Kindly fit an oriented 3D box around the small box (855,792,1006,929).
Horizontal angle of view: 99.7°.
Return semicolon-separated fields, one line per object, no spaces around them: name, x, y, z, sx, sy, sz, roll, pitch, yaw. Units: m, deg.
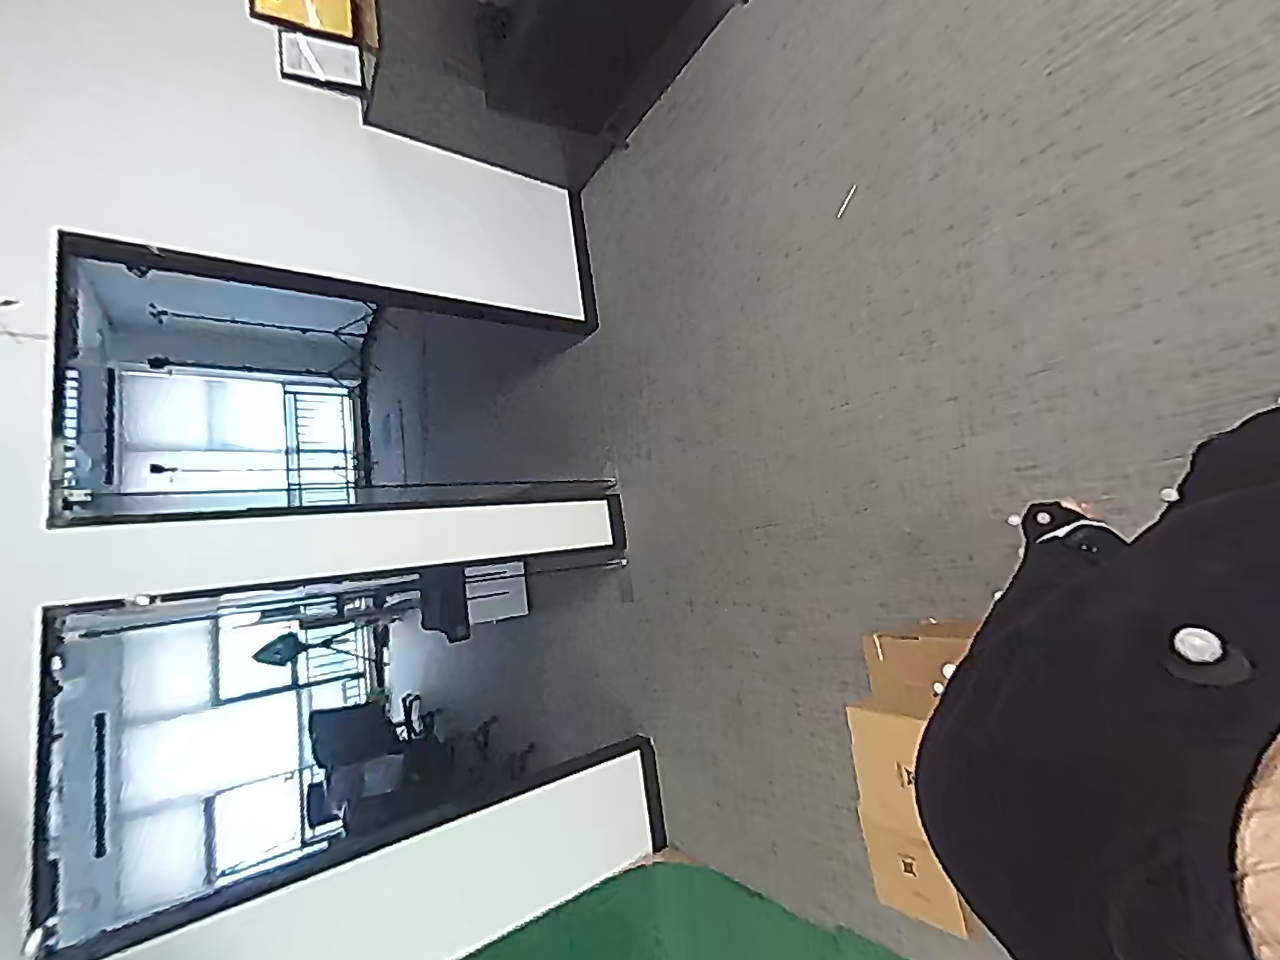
small box;0.534;0.659;0.998;0.168;0.176;0.179;-24;73;55
